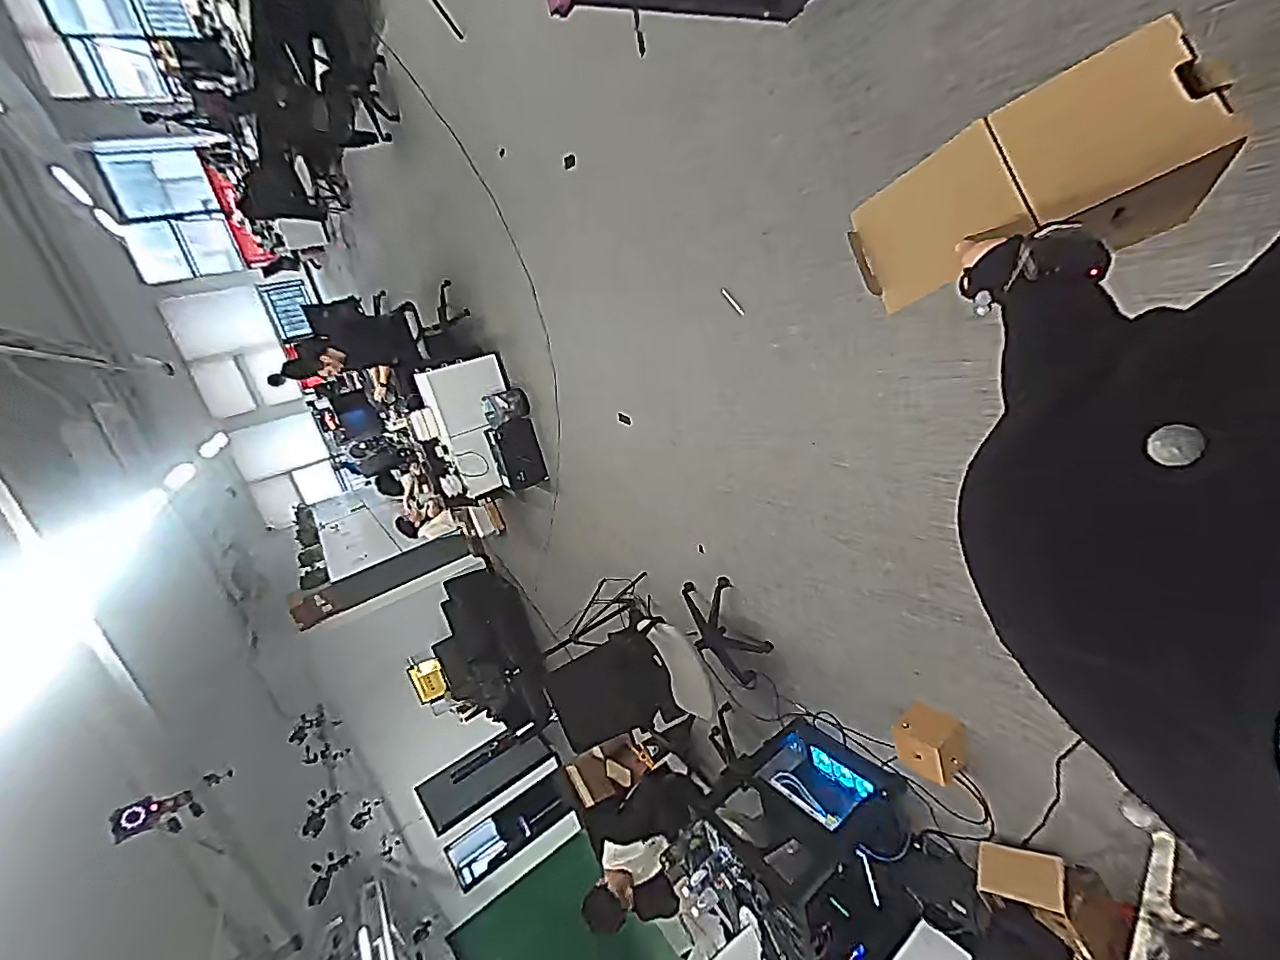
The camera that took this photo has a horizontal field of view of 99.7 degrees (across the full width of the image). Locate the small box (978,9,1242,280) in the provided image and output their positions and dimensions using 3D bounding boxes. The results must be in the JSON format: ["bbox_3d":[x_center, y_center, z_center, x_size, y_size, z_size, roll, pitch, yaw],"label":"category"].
[{"bbox_3d":[0.525,-0.370,0.638,0.179,0.176,0.168,-21,75,28],"label":"small box"}]
